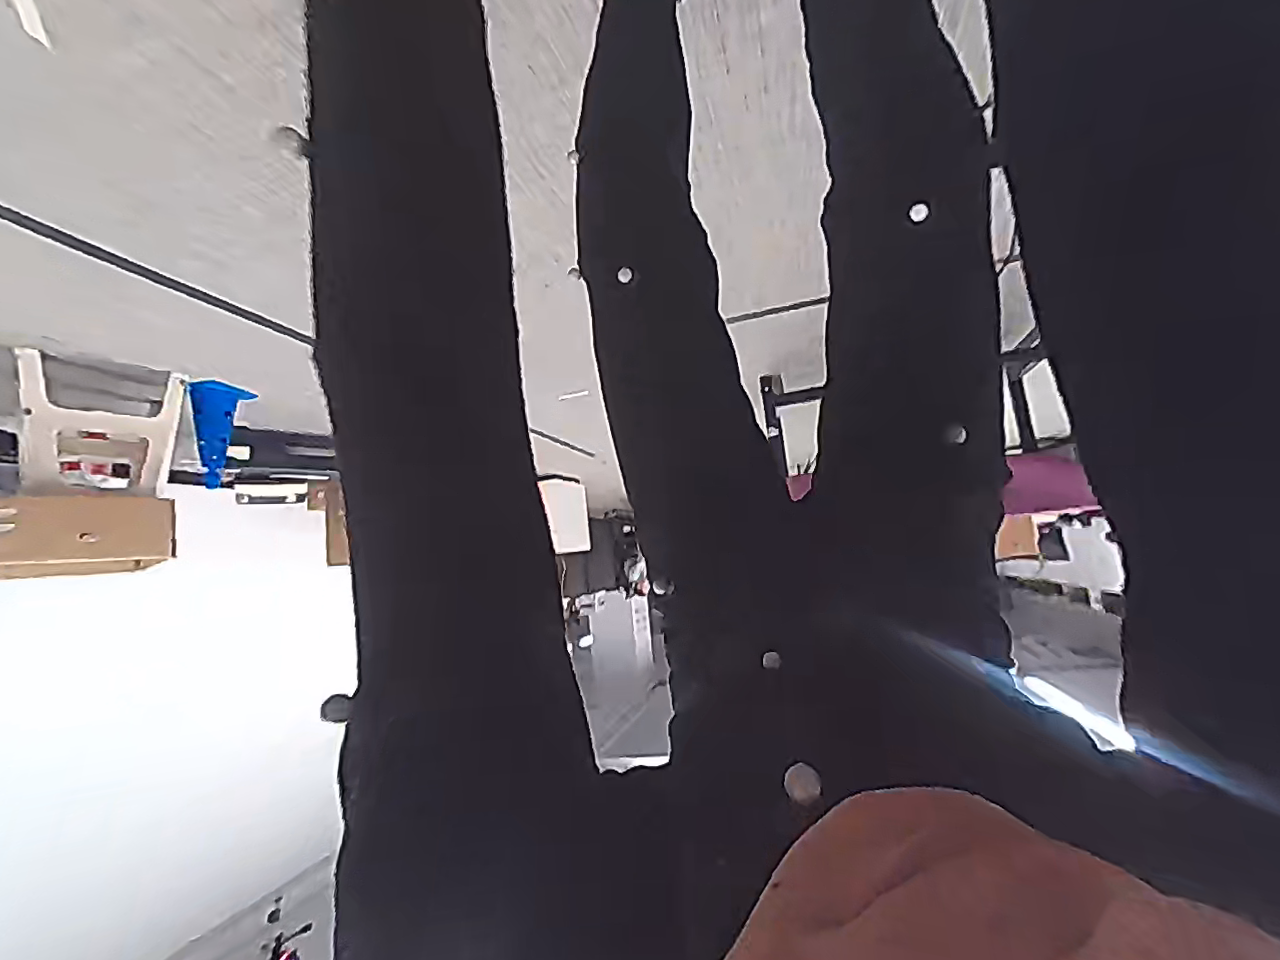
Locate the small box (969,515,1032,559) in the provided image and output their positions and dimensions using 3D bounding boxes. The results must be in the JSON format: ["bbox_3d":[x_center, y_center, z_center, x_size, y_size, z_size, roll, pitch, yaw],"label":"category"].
[{"bbox_3d":[1.564,0.249,2.353,0.179,0.176,0.168,-9,170,19],"label":"small box"}]
